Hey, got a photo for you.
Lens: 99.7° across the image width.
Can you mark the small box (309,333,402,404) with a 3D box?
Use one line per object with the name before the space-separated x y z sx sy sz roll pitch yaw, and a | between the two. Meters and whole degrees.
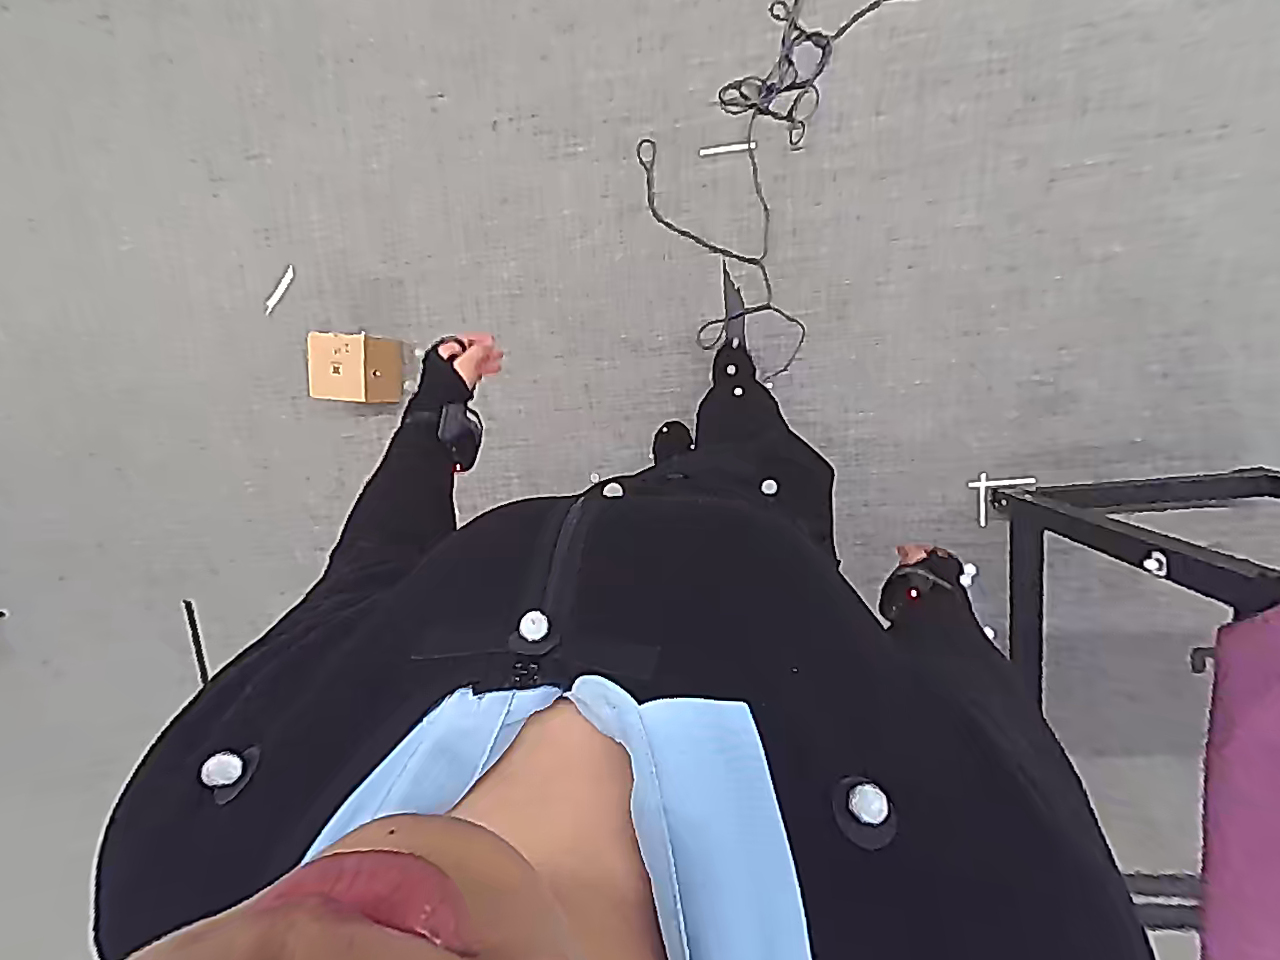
small box | -0.782 -0.306 1.498 0.168 0.176 0.179 6 100 8
